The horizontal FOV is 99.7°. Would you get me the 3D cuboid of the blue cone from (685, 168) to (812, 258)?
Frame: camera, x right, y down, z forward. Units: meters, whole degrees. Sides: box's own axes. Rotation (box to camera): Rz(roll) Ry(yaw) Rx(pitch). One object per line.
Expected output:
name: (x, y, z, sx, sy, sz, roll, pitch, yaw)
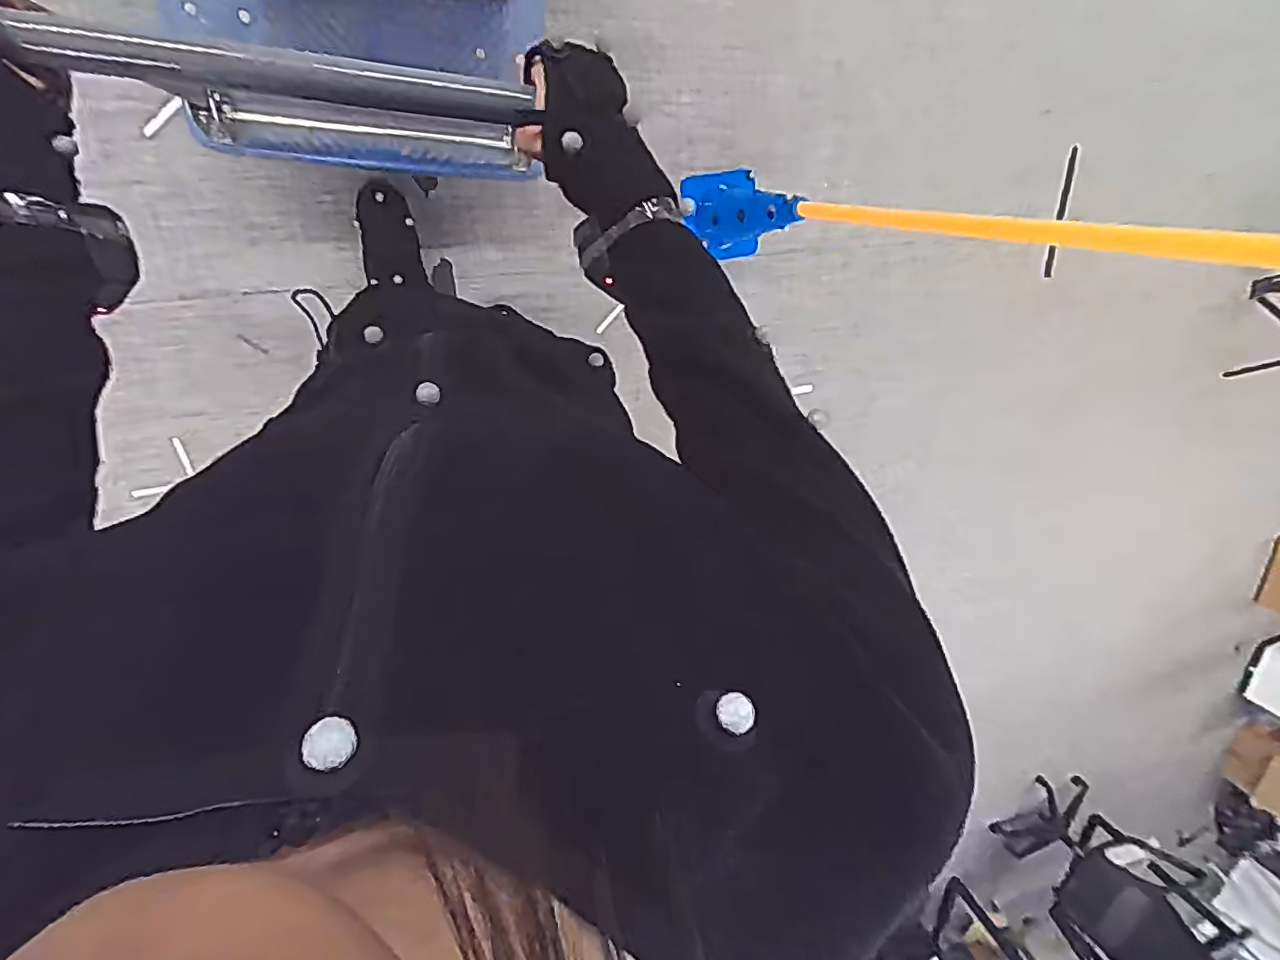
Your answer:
blue cone: (0.258, -0.601, 1.196, 0.193, 0.380, 0.192, -14, 115, -14)
